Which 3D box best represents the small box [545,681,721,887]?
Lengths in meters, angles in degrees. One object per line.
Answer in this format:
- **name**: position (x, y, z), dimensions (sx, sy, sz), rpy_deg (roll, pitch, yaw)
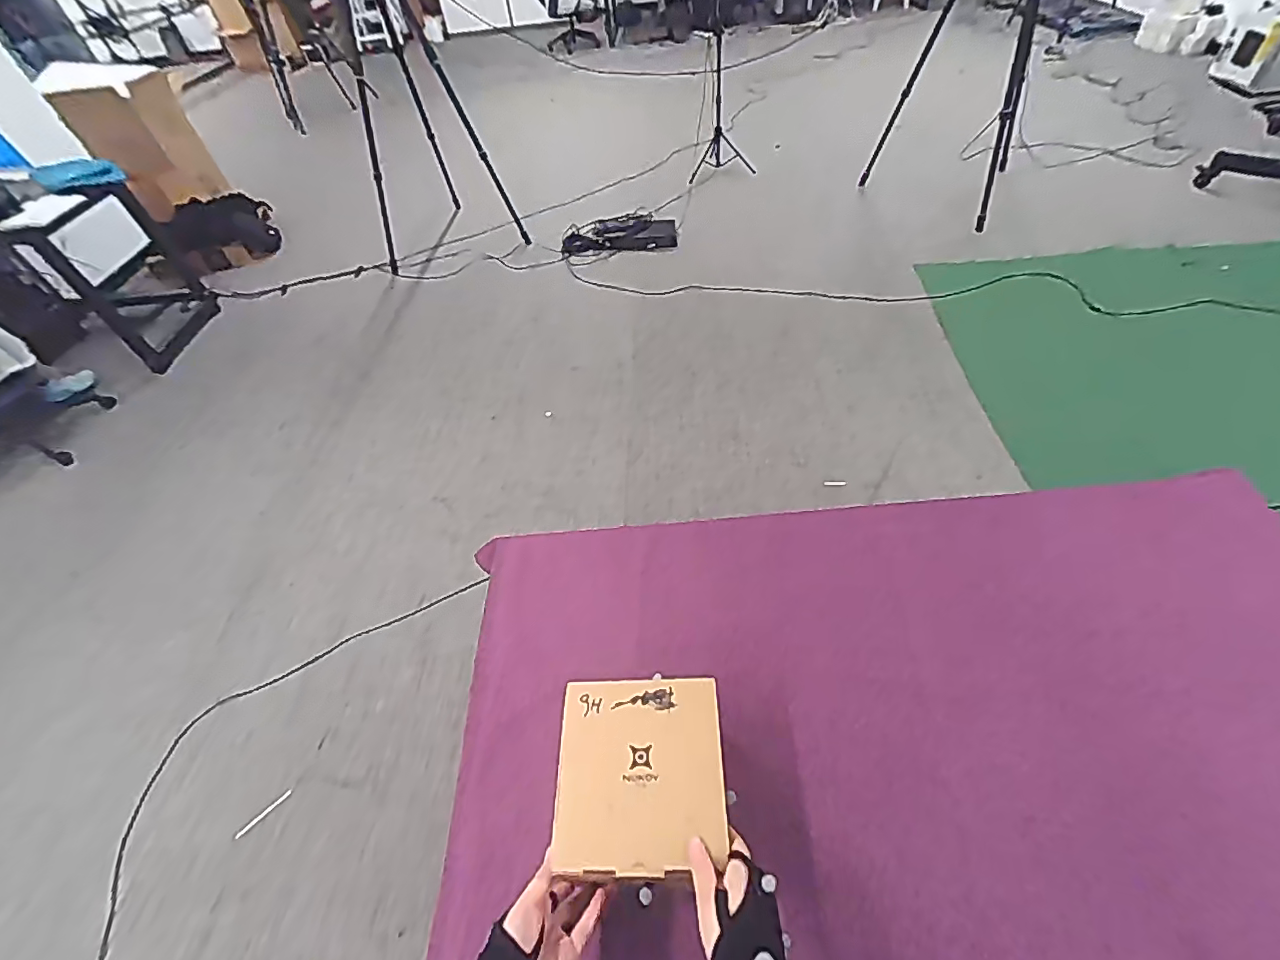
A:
- **small box**: position (0.003, 0.338, 0.598), dimensions (0.168, 0.176, 0.179), rpy_deg (-2, 50, 4)
